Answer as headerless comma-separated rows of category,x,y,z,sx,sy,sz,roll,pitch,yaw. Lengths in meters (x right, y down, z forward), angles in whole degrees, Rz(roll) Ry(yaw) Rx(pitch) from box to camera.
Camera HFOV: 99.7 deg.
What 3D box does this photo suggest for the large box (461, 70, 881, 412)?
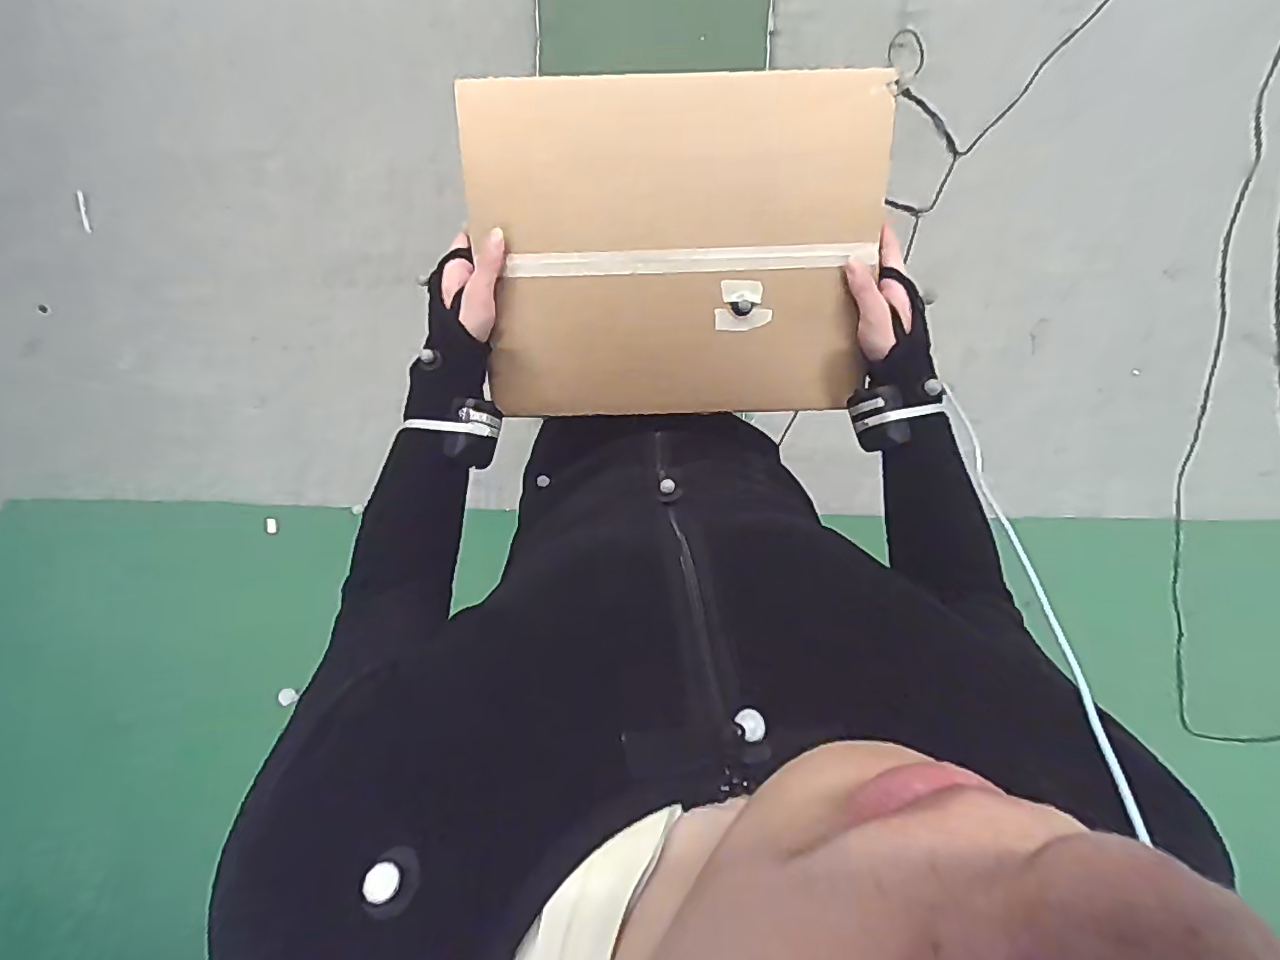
large box,0.031,-0.276,0.692,0.408,0.320,0.320,-2,109,-1
